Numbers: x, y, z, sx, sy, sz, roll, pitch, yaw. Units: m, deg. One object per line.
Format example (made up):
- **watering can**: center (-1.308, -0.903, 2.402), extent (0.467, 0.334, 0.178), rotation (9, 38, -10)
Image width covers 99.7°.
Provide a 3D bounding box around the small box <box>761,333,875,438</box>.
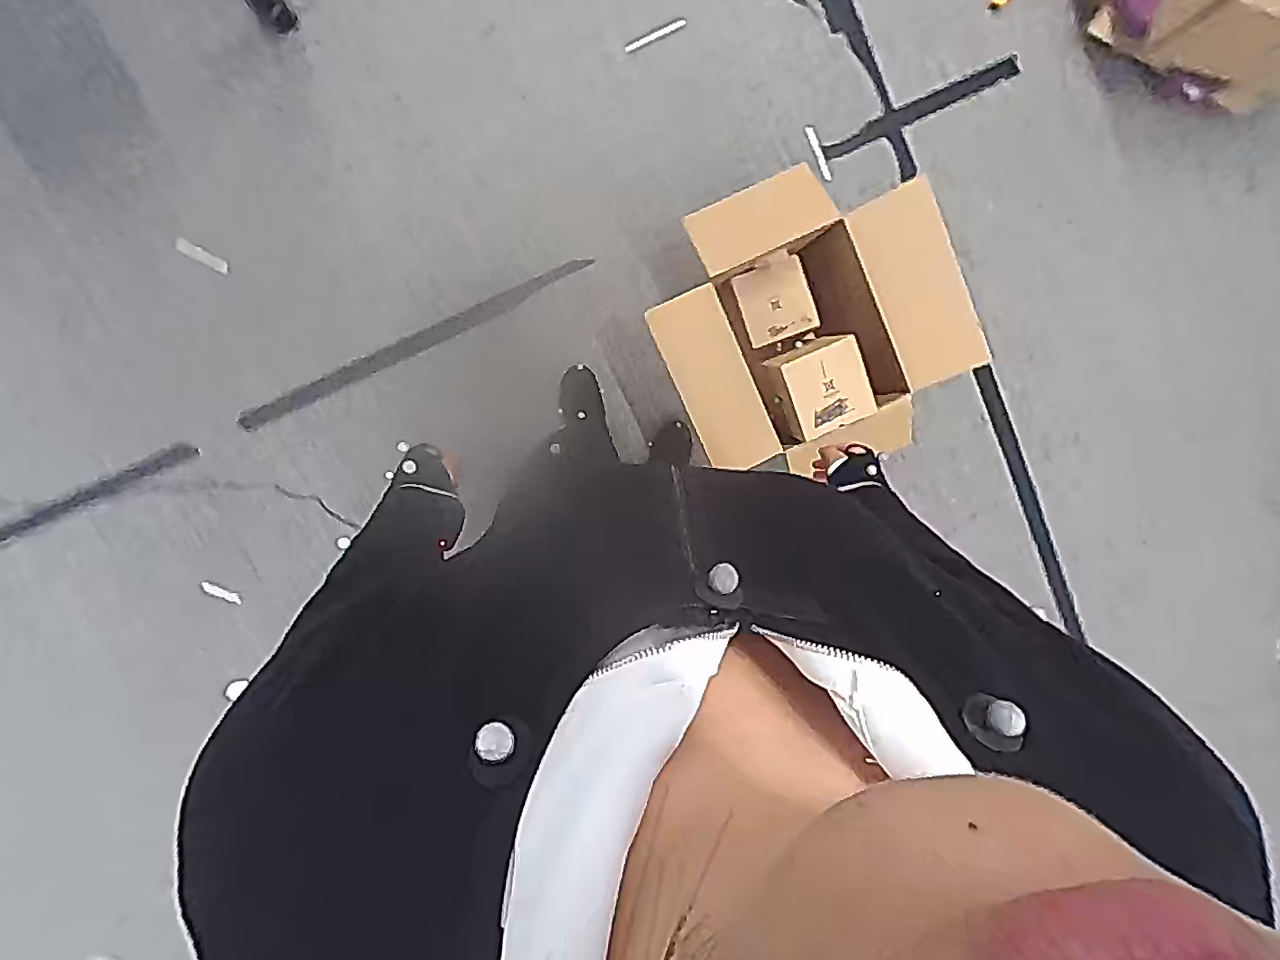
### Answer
- **small box**: center (0.388, -0.214, 1.202), extent (0.168, 0.176, 0.179), rotation (-22, 103, 2)
